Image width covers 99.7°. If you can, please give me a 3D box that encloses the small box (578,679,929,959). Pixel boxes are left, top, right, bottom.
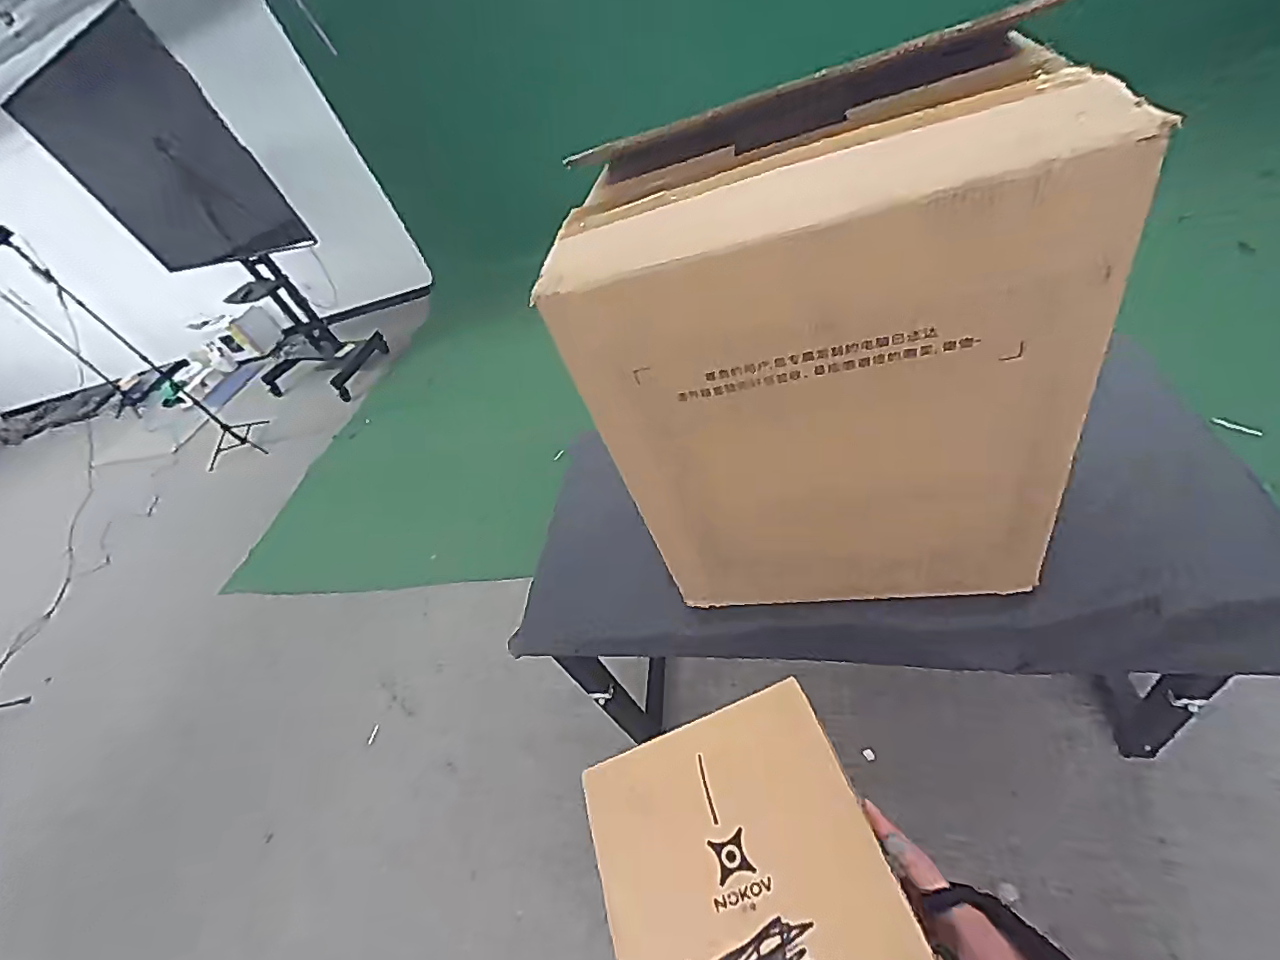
[{"bbox_3d":[0.080,0.270,0.375,0.168,0.176,0.179,-26,48,7],"label":"small box"}]
